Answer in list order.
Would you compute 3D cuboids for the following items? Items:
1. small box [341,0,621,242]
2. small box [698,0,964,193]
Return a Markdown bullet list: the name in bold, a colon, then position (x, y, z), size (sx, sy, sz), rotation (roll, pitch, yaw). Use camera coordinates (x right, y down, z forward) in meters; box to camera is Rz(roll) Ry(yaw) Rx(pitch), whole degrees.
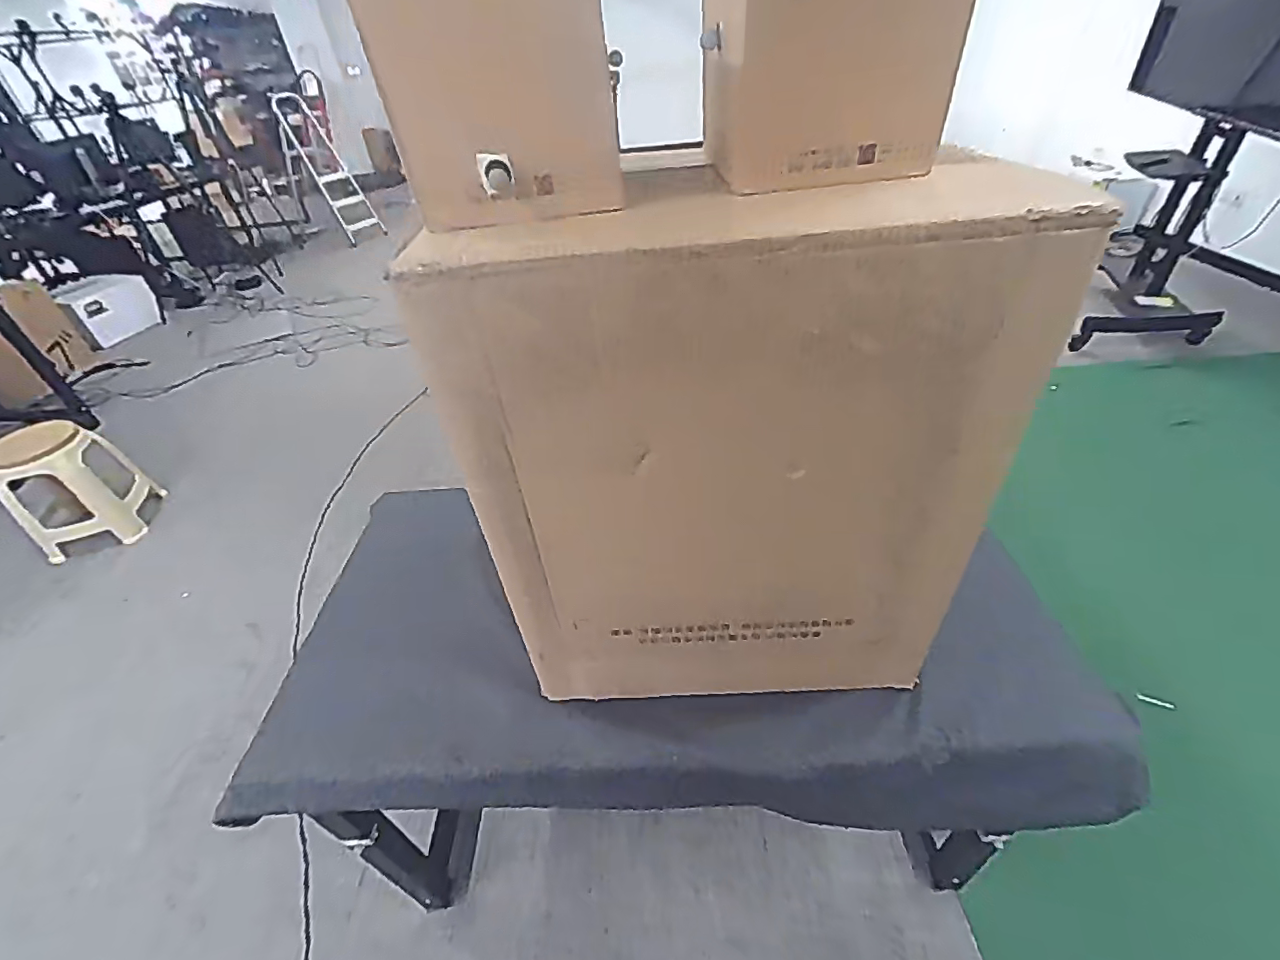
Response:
- **small box**: position (-0.111, -0.319, 0.453), size (0.168, 0.176, 0.179), rotation (-9, 43, 1)
- **small box**: position (0.140, -0.357, 0.457), size (0.168, 0.176, 0.179), rotation (-7, 41, 0)
